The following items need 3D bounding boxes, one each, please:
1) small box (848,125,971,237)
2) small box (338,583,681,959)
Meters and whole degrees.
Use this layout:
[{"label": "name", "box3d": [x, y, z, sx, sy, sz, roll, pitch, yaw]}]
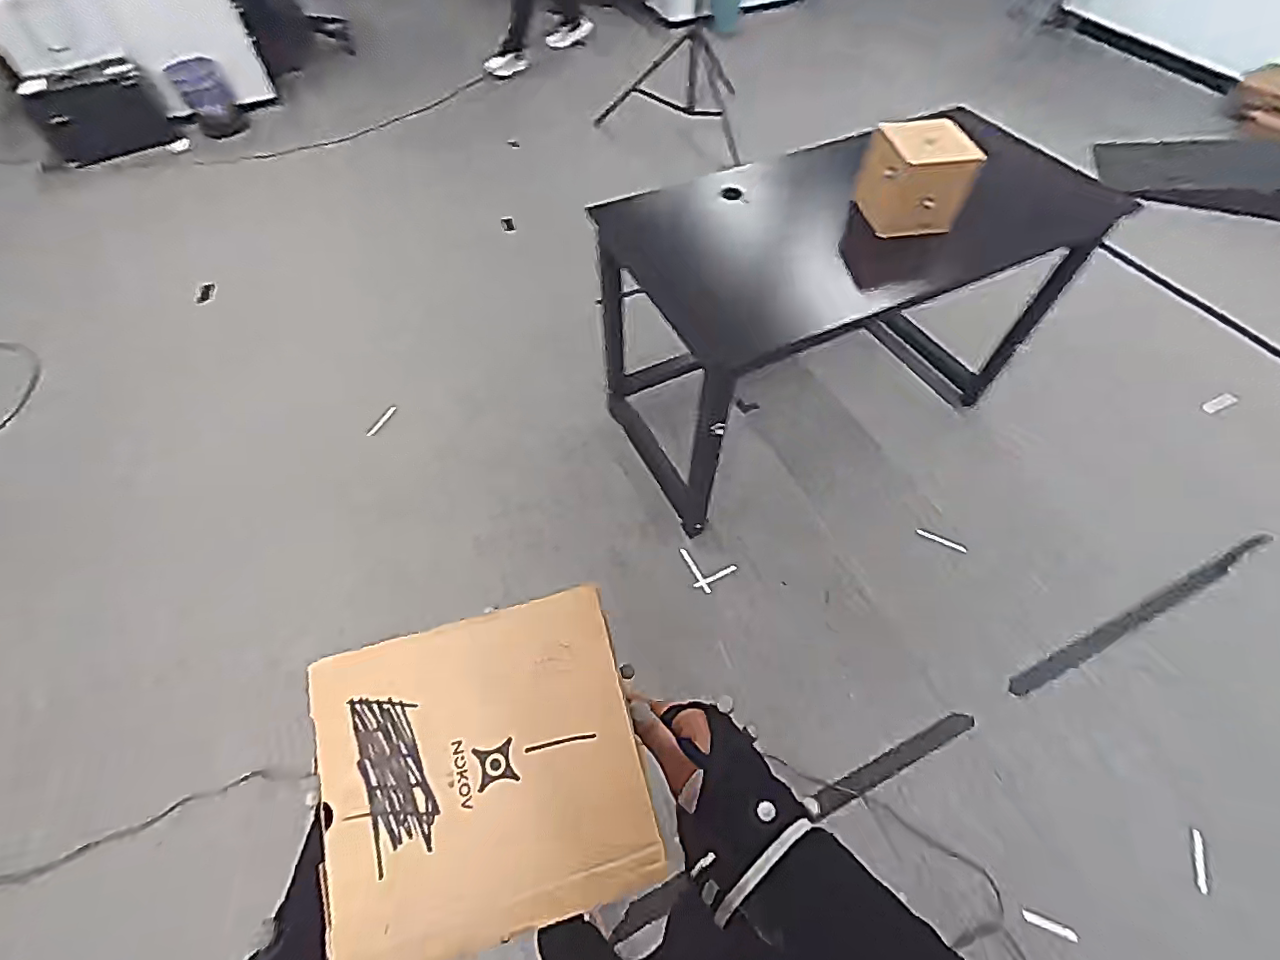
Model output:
[{"label": "small box", "box3d": [0.604, -0.676, 1.237, 0.168, 0.176, 0.179, -7, 57, -5]}, {"label": "small box", "box3d": [-0.083, 0.188, 0.387, 0.179, 0.176, 0.168, -14, 71, -8]}]
